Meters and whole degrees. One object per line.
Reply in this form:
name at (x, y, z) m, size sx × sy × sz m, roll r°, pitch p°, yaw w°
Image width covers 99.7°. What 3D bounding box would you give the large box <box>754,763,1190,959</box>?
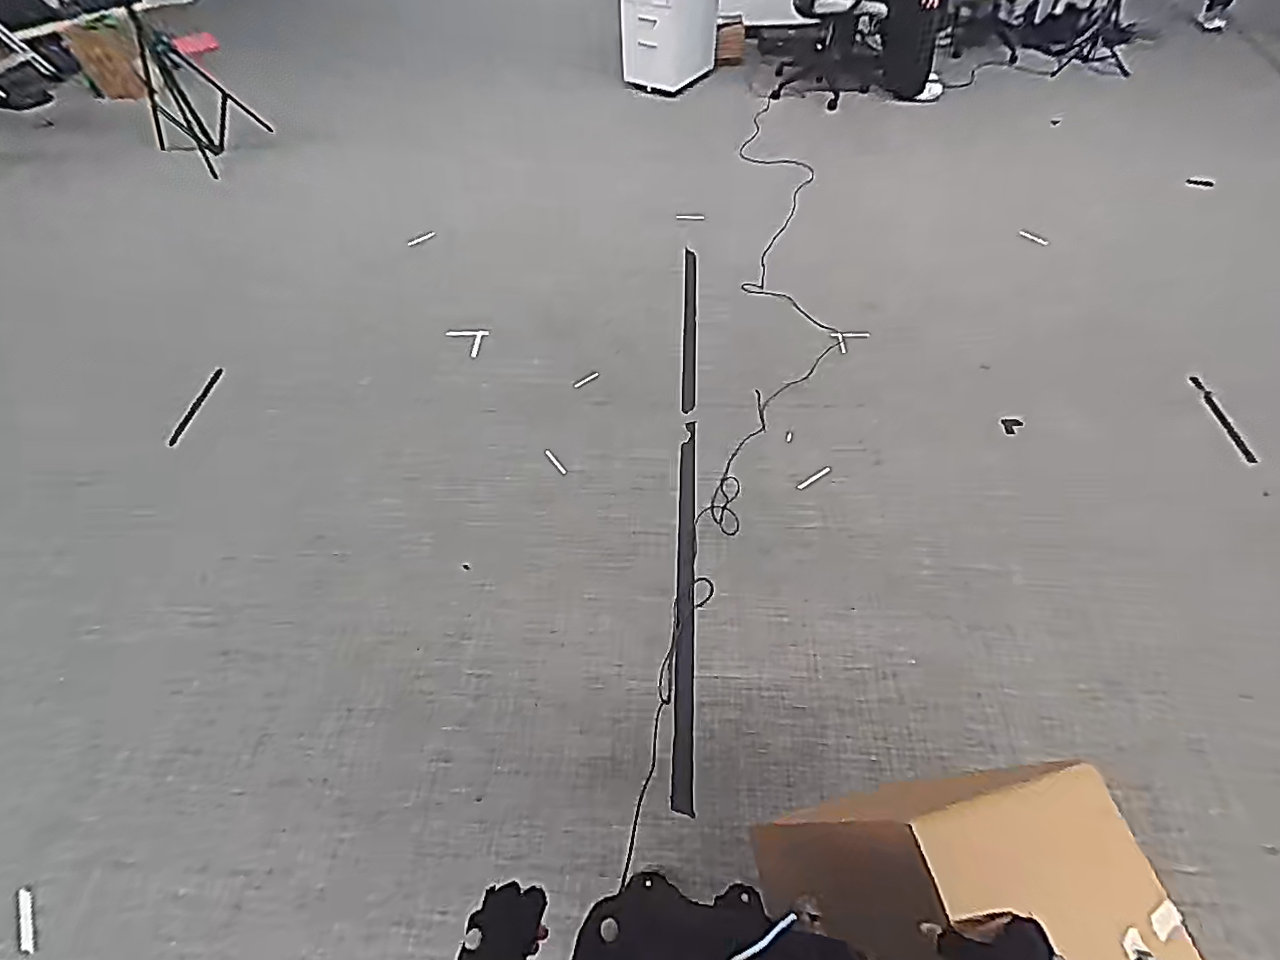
large box at (0.418, 0.612, 0.739) m, size 0.320 × 0.408 × 0.320 m, roll -3°, pitch 58°, yaw -19°
